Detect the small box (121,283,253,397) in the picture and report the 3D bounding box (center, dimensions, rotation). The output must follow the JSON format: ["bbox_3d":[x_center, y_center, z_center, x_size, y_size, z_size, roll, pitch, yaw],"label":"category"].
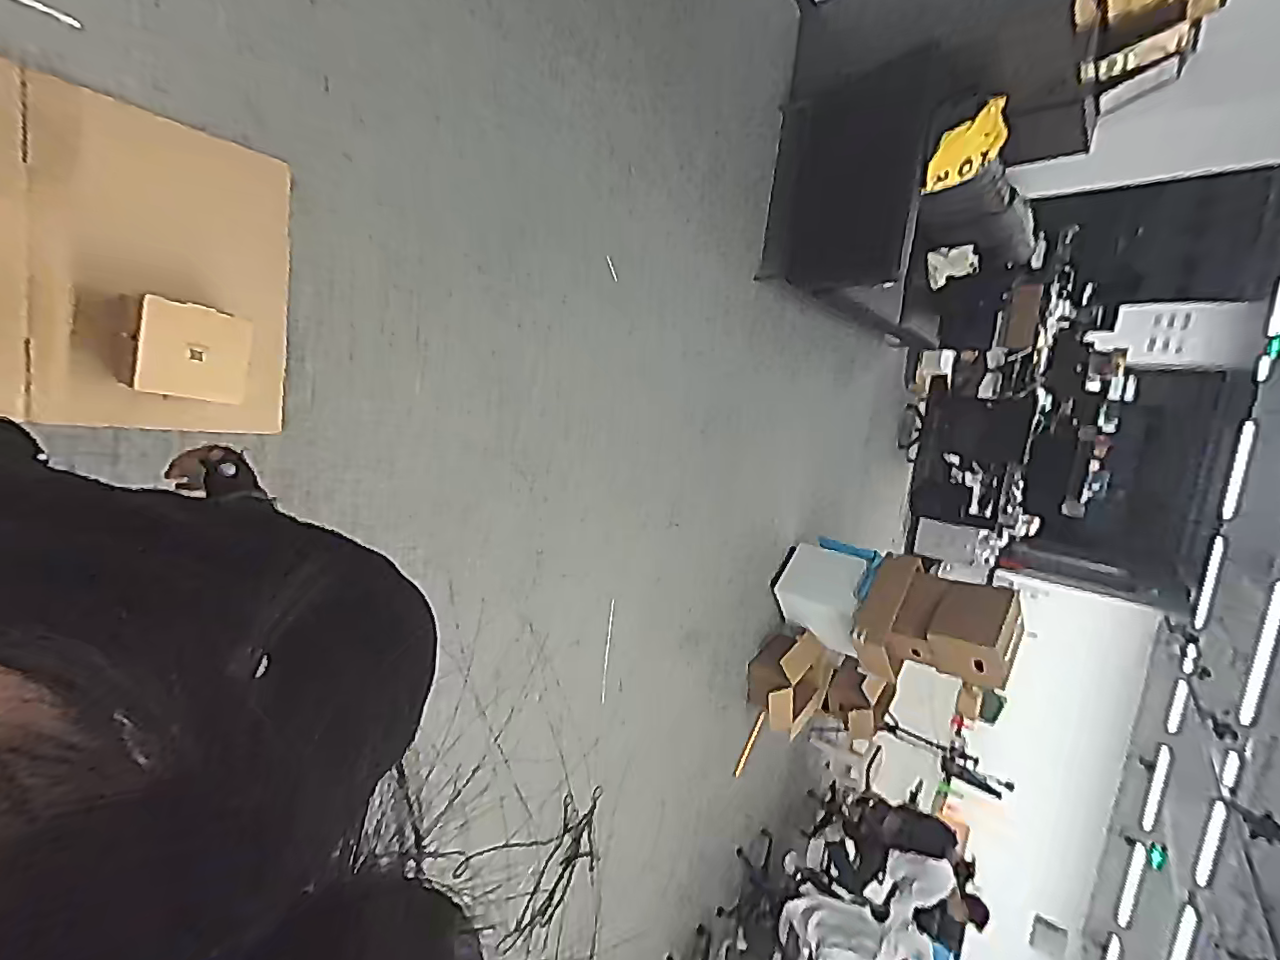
[{"bbox_3d":[-0.893,-0.270,1.062,0.168,0.176,0.179,5,96,-51],"label":"small box"}]
